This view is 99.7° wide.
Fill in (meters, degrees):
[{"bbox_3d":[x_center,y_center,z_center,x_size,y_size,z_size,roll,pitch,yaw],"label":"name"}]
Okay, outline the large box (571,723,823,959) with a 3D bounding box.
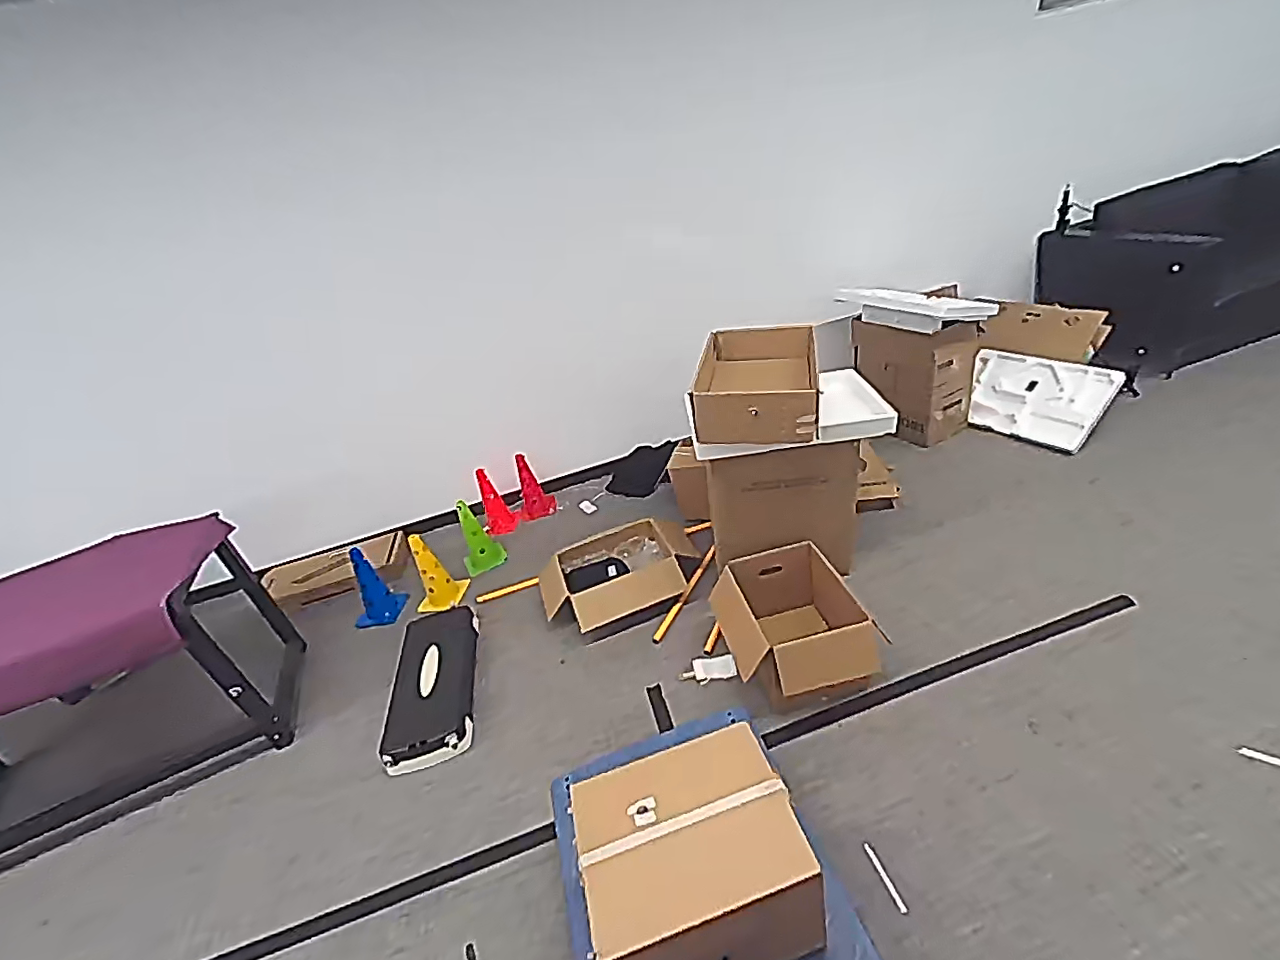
[{"bbox_3d":[0.112,0.786,1.106,0.408,0.320,0.320,-18,29,-7],"label":"large box"}]
